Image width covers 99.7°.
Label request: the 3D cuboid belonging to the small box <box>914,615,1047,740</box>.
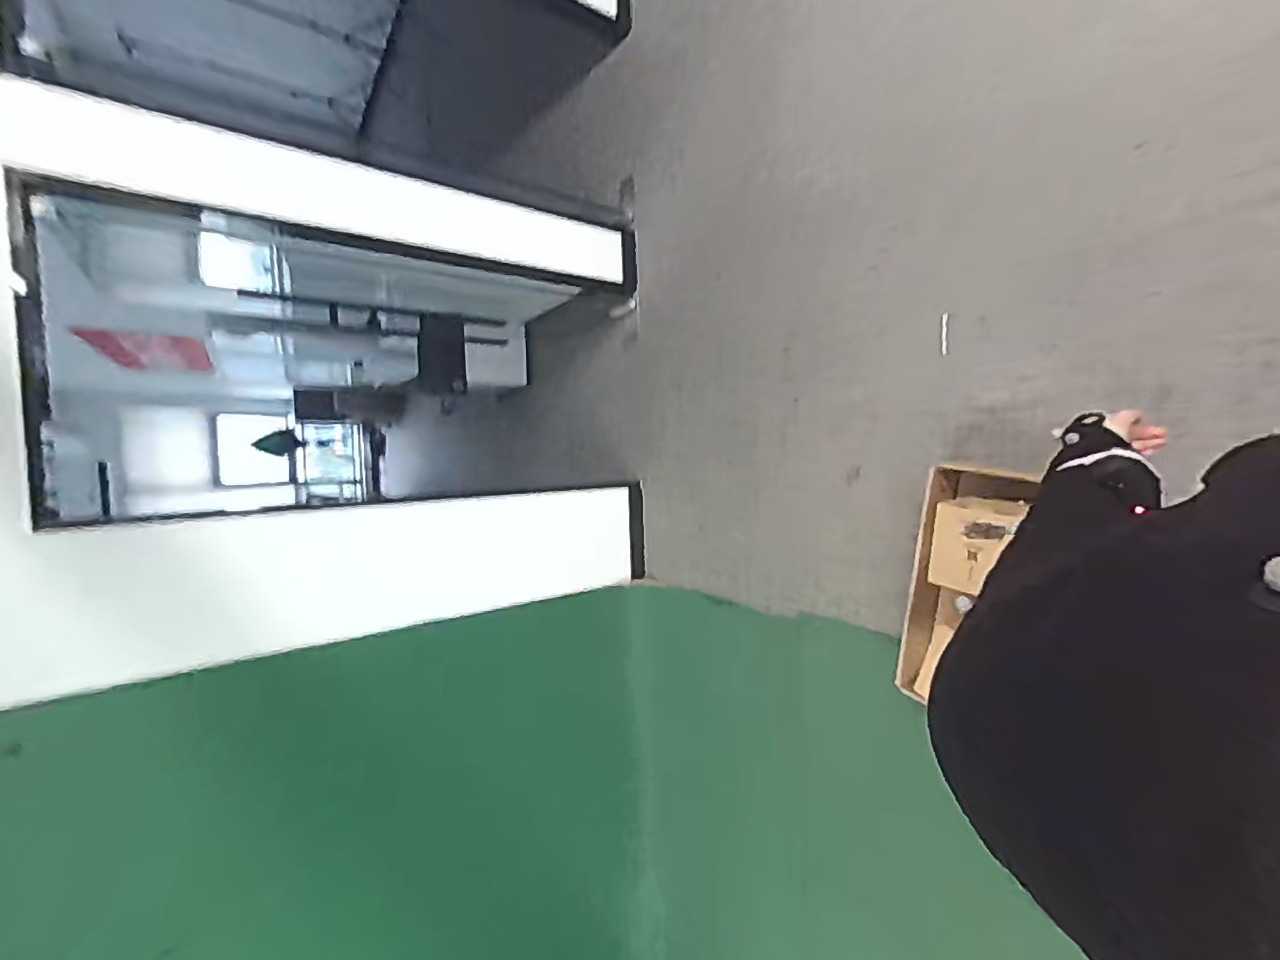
[{"bbox_3d":[0.735,0.415,1.166,0.168,0.176,0.179,32,115,49],"label":"small box"}]

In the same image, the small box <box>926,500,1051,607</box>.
[{"bbox_3d":[0.736,0.143,1.140,0.168,0.176,0.179,15,106,52],"label":"small box"}]
